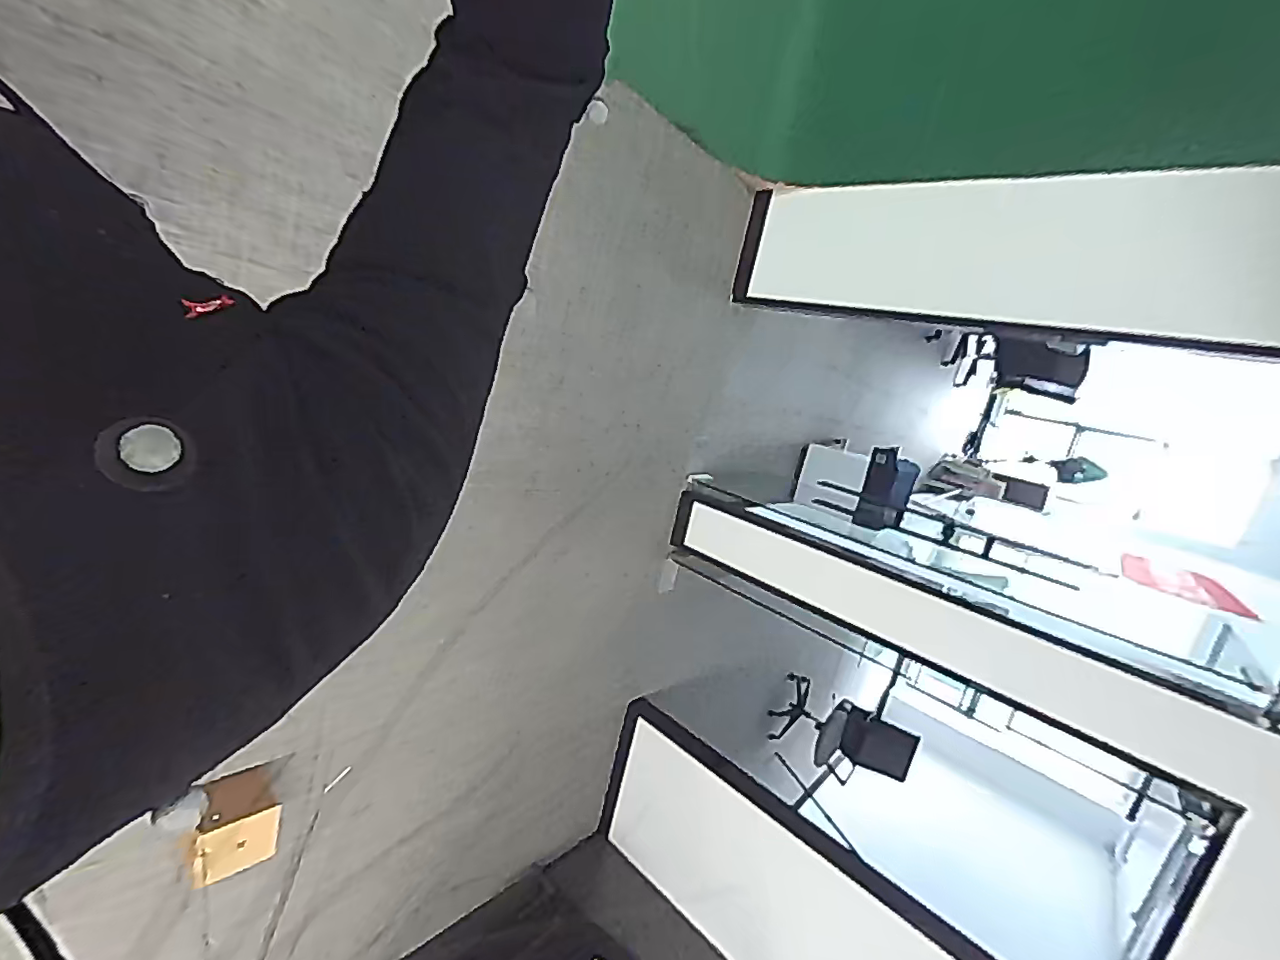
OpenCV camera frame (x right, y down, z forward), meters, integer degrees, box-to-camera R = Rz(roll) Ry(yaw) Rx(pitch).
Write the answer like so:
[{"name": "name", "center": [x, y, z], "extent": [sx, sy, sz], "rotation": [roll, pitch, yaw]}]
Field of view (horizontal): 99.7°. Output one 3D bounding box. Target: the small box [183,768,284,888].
[{"name": "small box", "center": [-1.077, 0.907, 1.431], "extent": [0.179, 0.176, 0.168], "rotation": [0, 106, -49]}]
